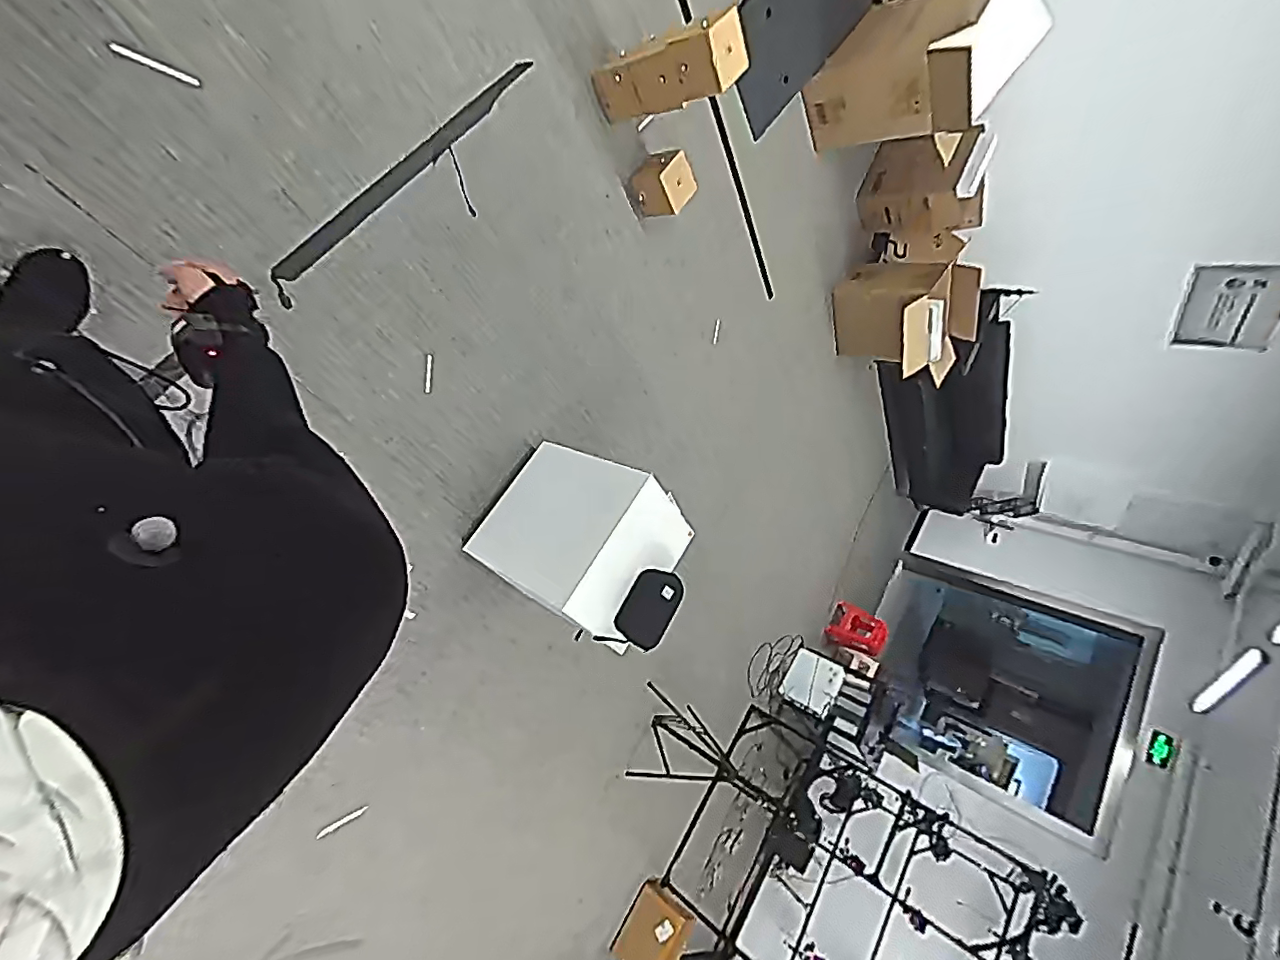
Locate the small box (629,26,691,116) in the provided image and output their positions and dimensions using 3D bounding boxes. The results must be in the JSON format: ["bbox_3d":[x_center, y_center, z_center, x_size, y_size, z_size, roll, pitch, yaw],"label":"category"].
[{"bbox_3d":[0.091,-1.363,1.814,0.168,0.176,0.179,-56,140,-19],"label":"small box"}]

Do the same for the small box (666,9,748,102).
[{"bbox_3d":[0.211,-1.335,1.708,0.179,0.176,0.168,-54,139,-20],"label":"small box"}]

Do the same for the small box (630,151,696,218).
[{"bbox_3d":[0.090,-1.172,2.155,0.179,0.176,0.168,-56,137,-17],"label":"small box"}]
